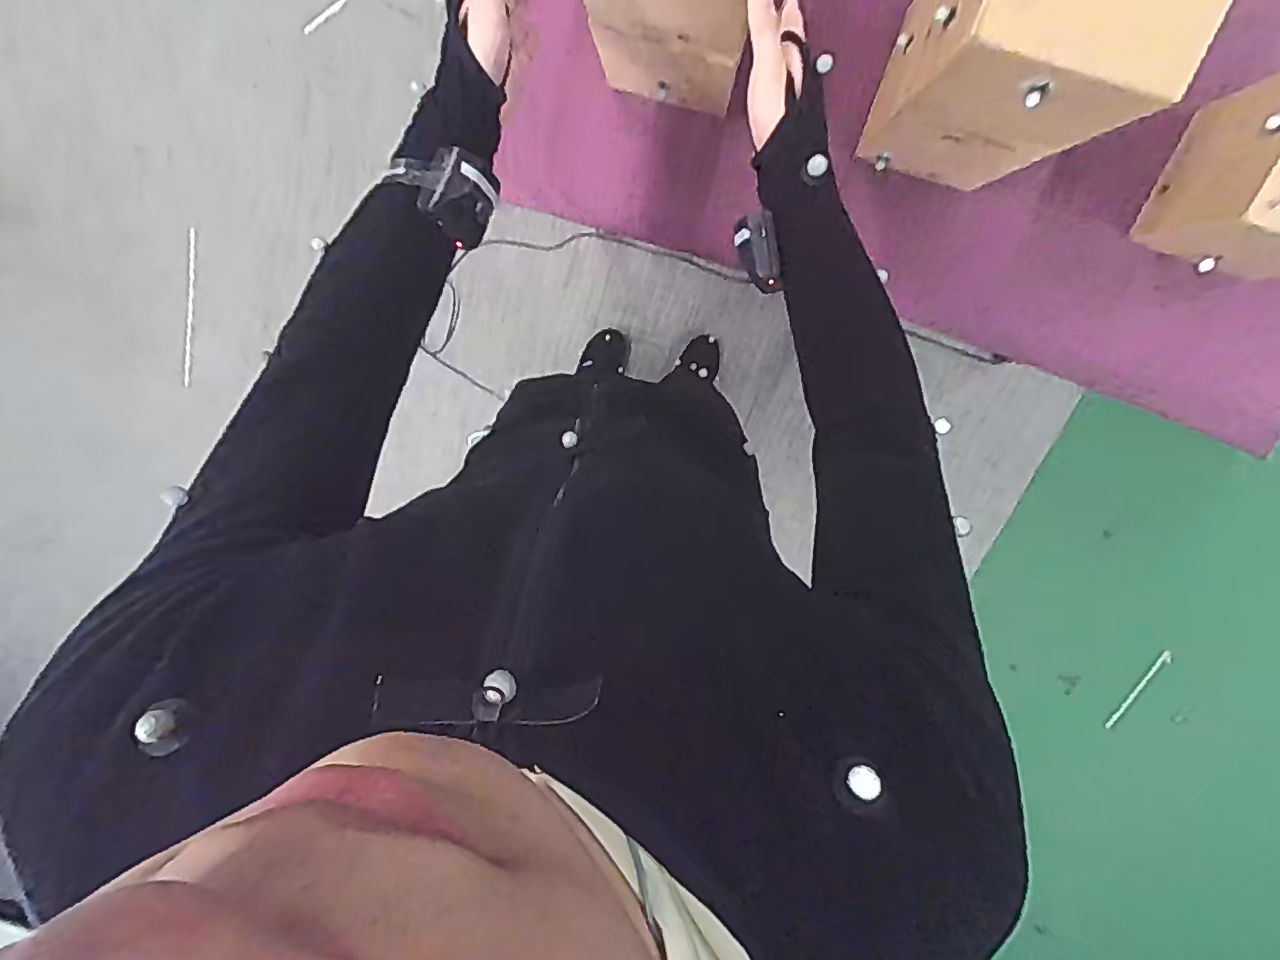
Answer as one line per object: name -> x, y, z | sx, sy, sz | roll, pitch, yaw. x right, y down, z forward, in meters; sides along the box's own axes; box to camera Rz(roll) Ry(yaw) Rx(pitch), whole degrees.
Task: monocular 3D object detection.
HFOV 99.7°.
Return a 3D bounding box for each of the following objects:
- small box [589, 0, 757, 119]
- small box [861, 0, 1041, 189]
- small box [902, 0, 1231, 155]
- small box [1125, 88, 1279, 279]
small box -> 0.050, -0.563, 0.629 | 0.168, 0.176, 0.179 | 16, 108, 0
small box -> 0.383, -0.467, 0.633 | 0.168, 0.176, 0.179 | 17, 107, -1
small box -> 0.369, -0.416, 0.479 | 0.179, 0.176, 0.168 | 17, 108, -2
small box -> 0.755, -0.347, 0.639 | 0.179, 0.176, 0.168 | 18, 107, -1
